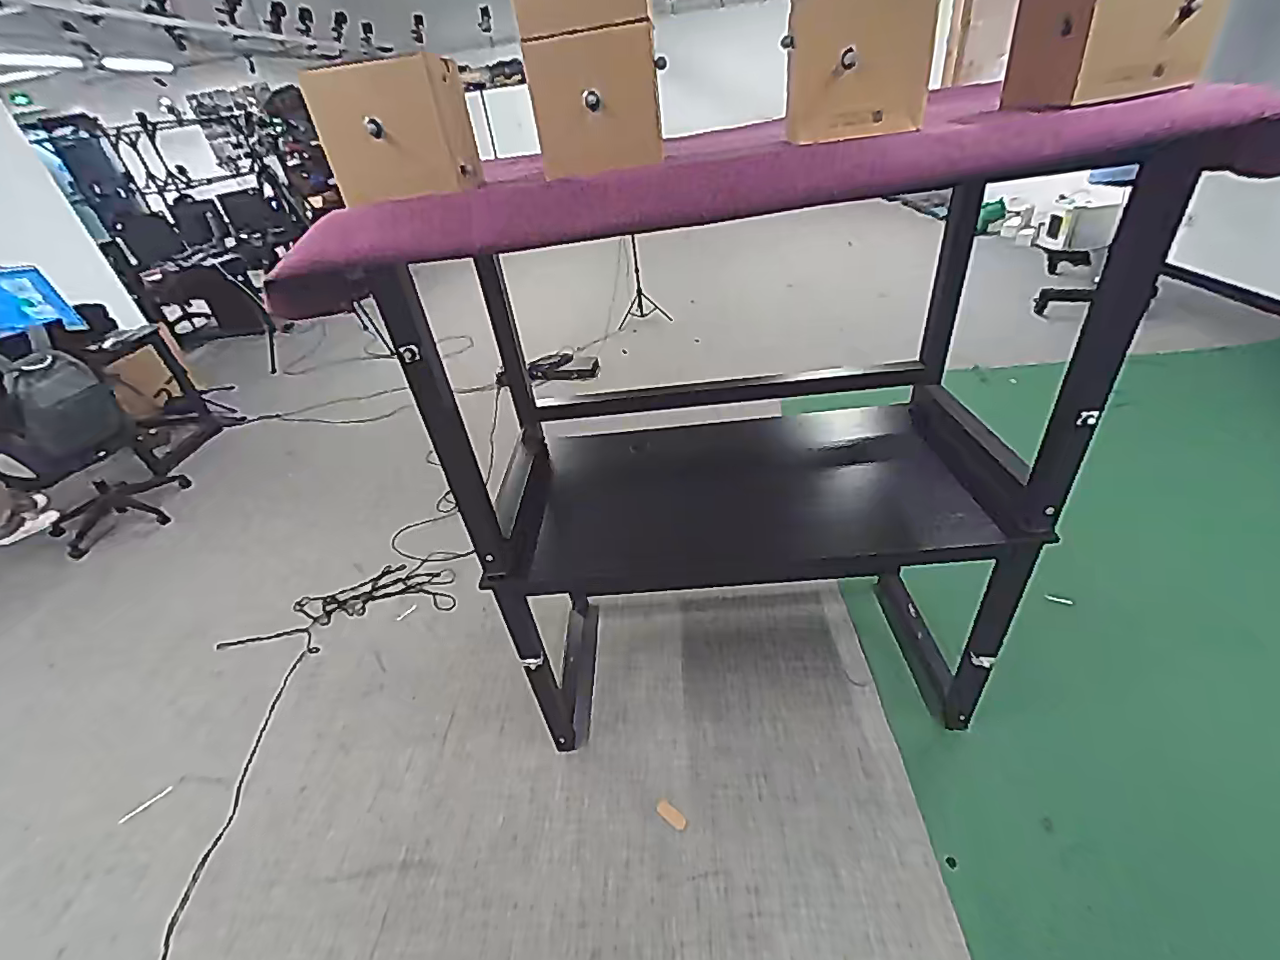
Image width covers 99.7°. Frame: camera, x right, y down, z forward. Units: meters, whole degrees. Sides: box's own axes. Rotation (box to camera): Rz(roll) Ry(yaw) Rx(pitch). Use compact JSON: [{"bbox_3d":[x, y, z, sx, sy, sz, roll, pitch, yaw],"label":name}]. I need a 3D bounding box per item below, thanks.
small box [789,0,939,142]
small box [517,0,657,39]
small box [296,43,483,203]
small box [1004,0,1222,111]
[{"bbox_3d":[0.305,-0.586,0.765,0.168,0.176,0.179,-2,34,9],"label":"small box"},{"bbox_3d":[-0.072,-0.701,0.713,0.179,0.176,0.168,-4,35,7],"label":"small box"},{"bbox_3d":[-0.347,-0.521,0.796,0.179,0.176,0.168,-7,35,2],"label":"small box"},{"bbox_3d":[0.644,-0.622,0.743,0.168,0.176,0.179,-6,33,3],"label":"small box"}]
